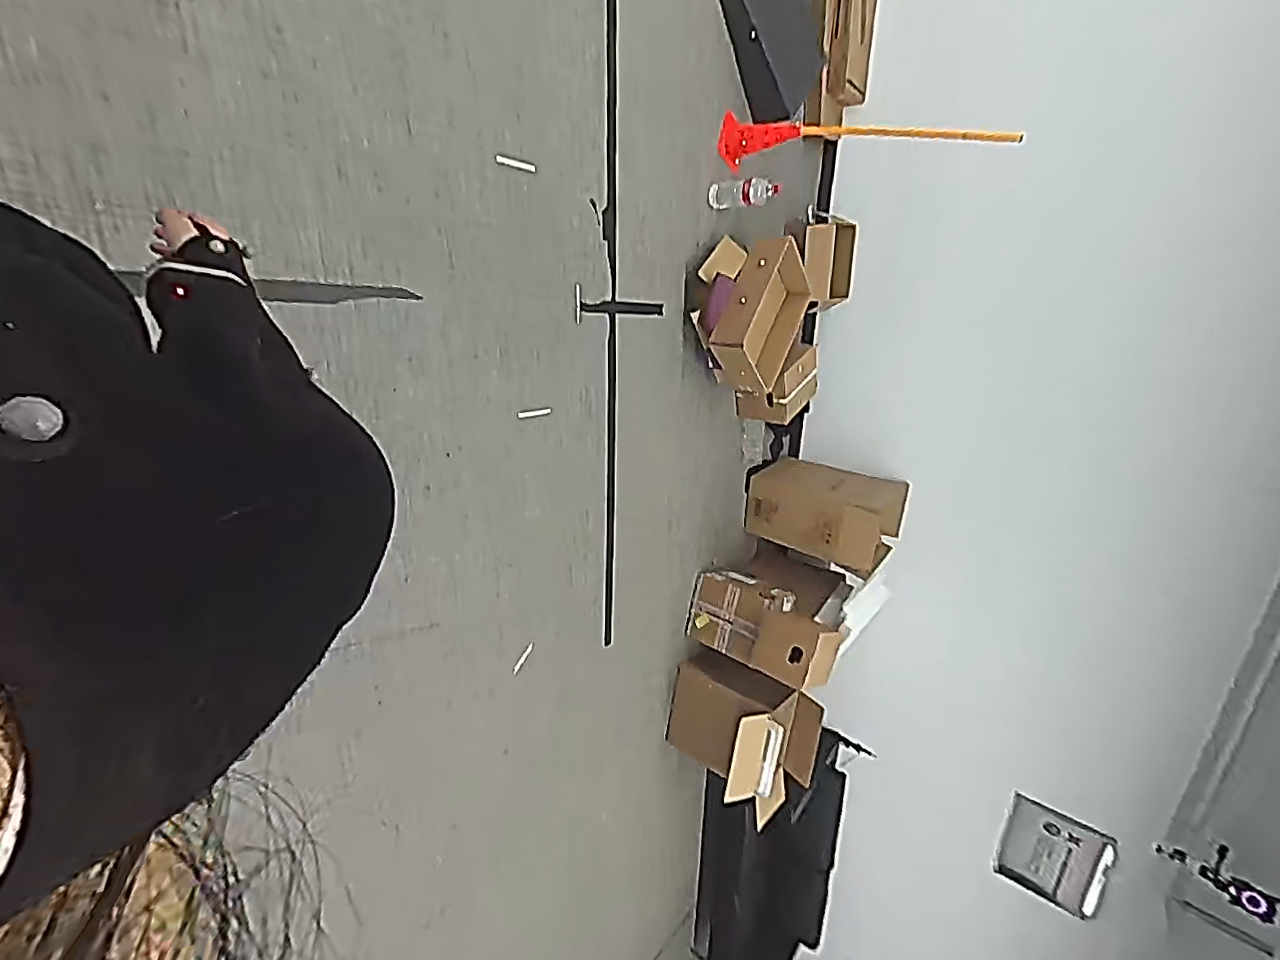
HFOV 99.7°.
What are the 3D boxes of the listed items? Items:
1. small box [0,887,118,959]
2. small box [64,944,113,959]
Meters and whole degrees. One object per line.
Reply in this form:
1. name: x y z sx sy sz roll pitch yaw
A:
1. small box: -1.255 1.024 1.153 0.168 0.176 0.179 -22 120 -47
2. small box: -1.130 1.072 1.058 0.168 0.176 0.179 -18 117 -49
